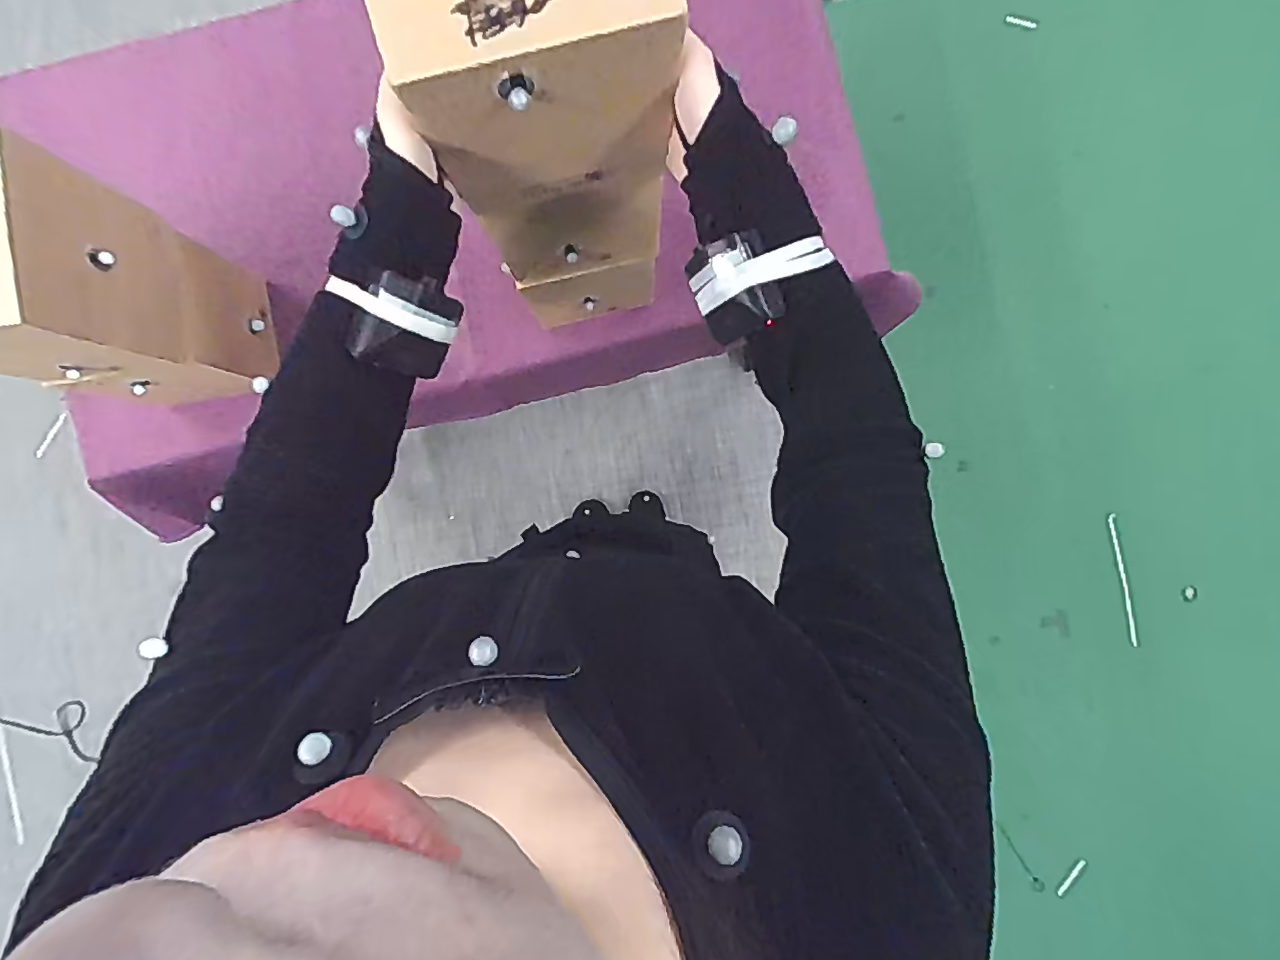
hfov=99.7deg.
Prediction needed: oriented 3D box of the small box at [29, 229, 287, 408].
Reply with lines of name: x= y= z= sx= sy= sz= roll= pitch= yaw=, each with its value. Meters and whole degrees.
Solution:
small box: x=-0.609 y=-0.196 z=0.705 sx=0.179 sy=0.176 sz=0.168 roll=-11 pitch=90 yaw=-1

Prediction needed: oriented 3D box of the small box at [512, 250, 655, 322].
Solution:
small box: x=-0.077 y=-0.320 z=0.704 sx=0.168 sy=0.176 sz=0.179 roll=-13 pitch=90 yaw=0

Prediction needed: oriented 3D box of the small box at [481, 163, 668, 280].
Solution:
small box: x=-0.073 y=-0.328 z=0.540 sx=0.168 sy=0.176 sz=0.179 roll=-13 pitch=91 yaw=0

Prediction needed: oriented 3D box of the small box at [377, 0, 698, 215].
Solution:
small box: x=-0.071 y=-0.311 z=0.358 sx=0.168 sy=0.176 sz=0.179 roll=-14 pitch=95 yaw=-1
